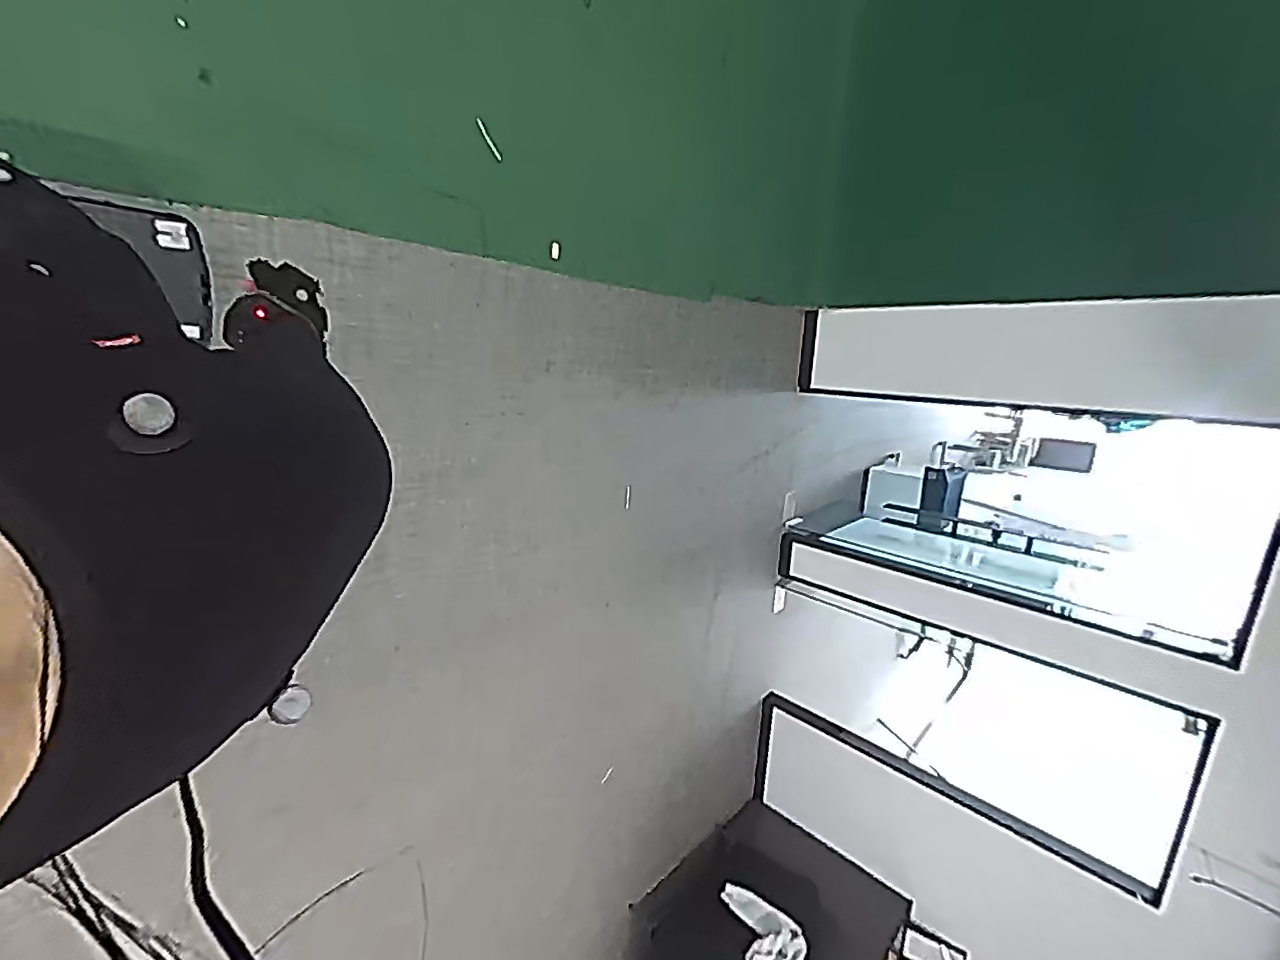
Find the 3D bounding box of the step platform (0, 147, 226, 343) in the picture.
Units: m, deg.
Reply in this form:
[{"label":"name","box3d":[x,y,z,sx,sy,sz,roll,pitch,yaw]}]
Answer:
[{"label":"step platform","box3d":[-1.032,-0.360,0.770,0.684,0.204,0.286,-10,109,-45]}]
